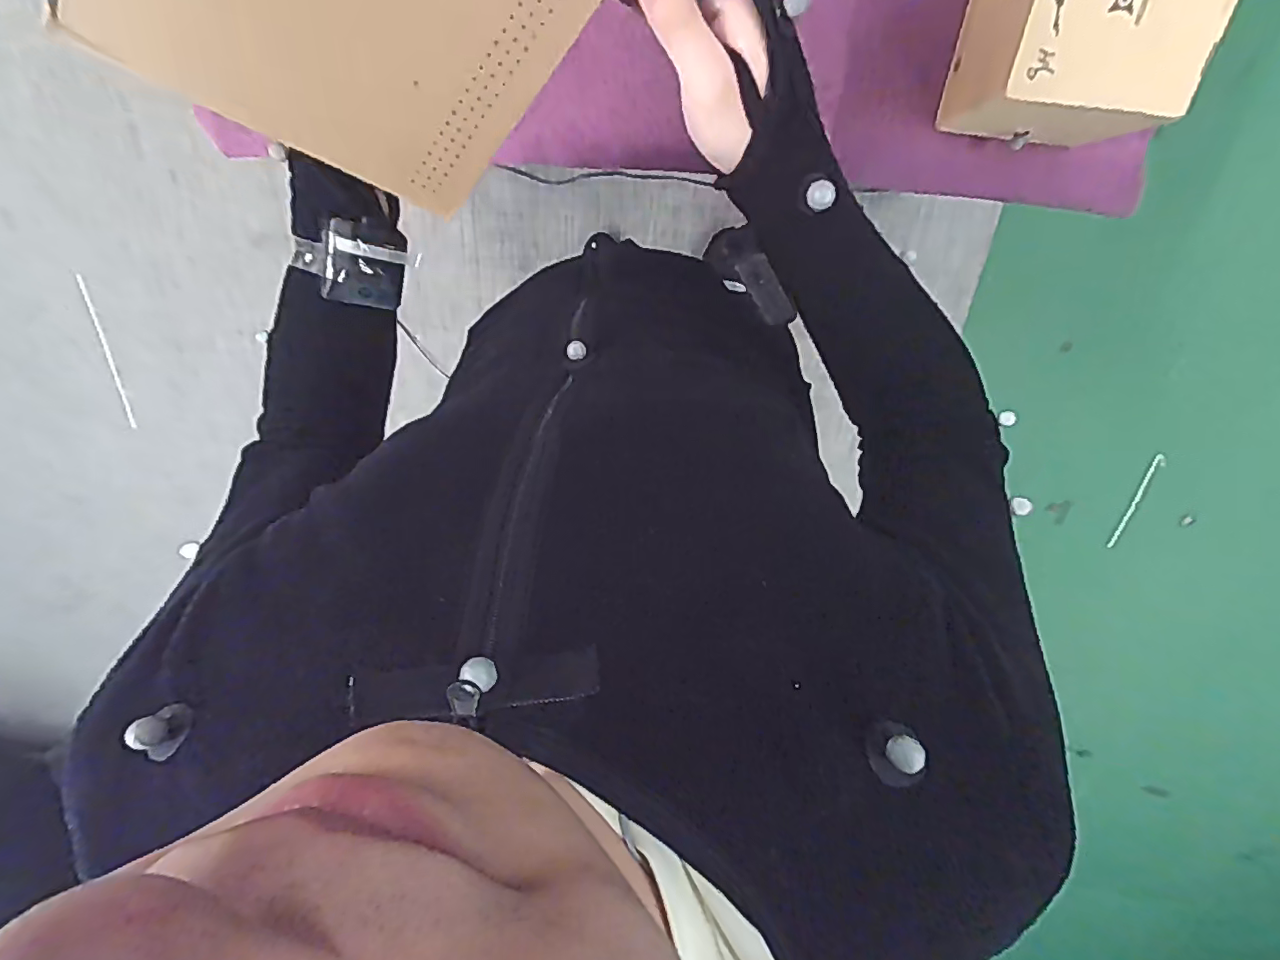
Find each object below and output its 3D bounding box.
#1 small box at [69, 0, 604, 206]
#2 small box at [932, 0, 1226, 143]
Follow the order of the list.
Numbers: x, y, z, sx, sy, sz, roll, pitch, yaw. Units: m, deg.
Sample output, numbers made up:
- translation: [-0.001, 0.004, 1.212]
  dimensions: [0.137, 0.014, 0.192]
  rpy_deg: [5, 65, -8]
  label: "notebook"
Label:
- translation: [-0.129, -0.273, 0.246]
  dimensions: [0.179, 0.176, 0.168]
  rpy_deg: [-35, 66, 33]
  label: "small box"
- translation: [0.450, -0.468, 0.568]
  dimensions: [0.179, 0.176, 0.168]
  rpy_deg: [8, 114, 1]
  label: "small box"
